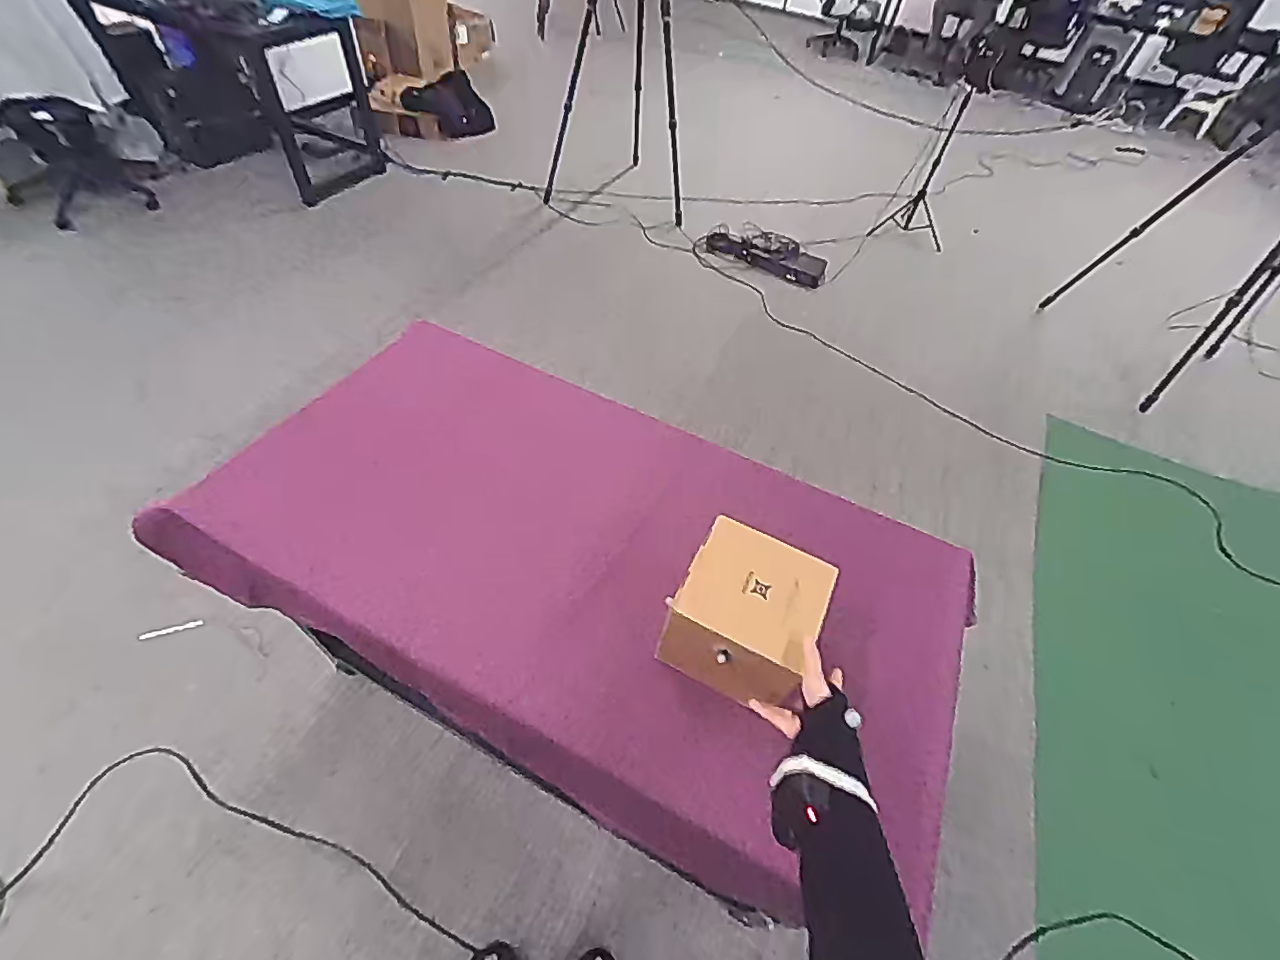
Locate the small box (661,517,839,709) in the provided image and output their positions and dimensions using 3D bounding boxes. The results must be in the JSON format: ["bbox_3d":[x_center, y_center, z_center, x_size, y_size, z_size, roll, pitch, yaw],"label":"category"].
[{"bbox_3d":[0.144,0.189,0.750,0.179,0.176,0.168,25,53,13],"label":"small box"}]
